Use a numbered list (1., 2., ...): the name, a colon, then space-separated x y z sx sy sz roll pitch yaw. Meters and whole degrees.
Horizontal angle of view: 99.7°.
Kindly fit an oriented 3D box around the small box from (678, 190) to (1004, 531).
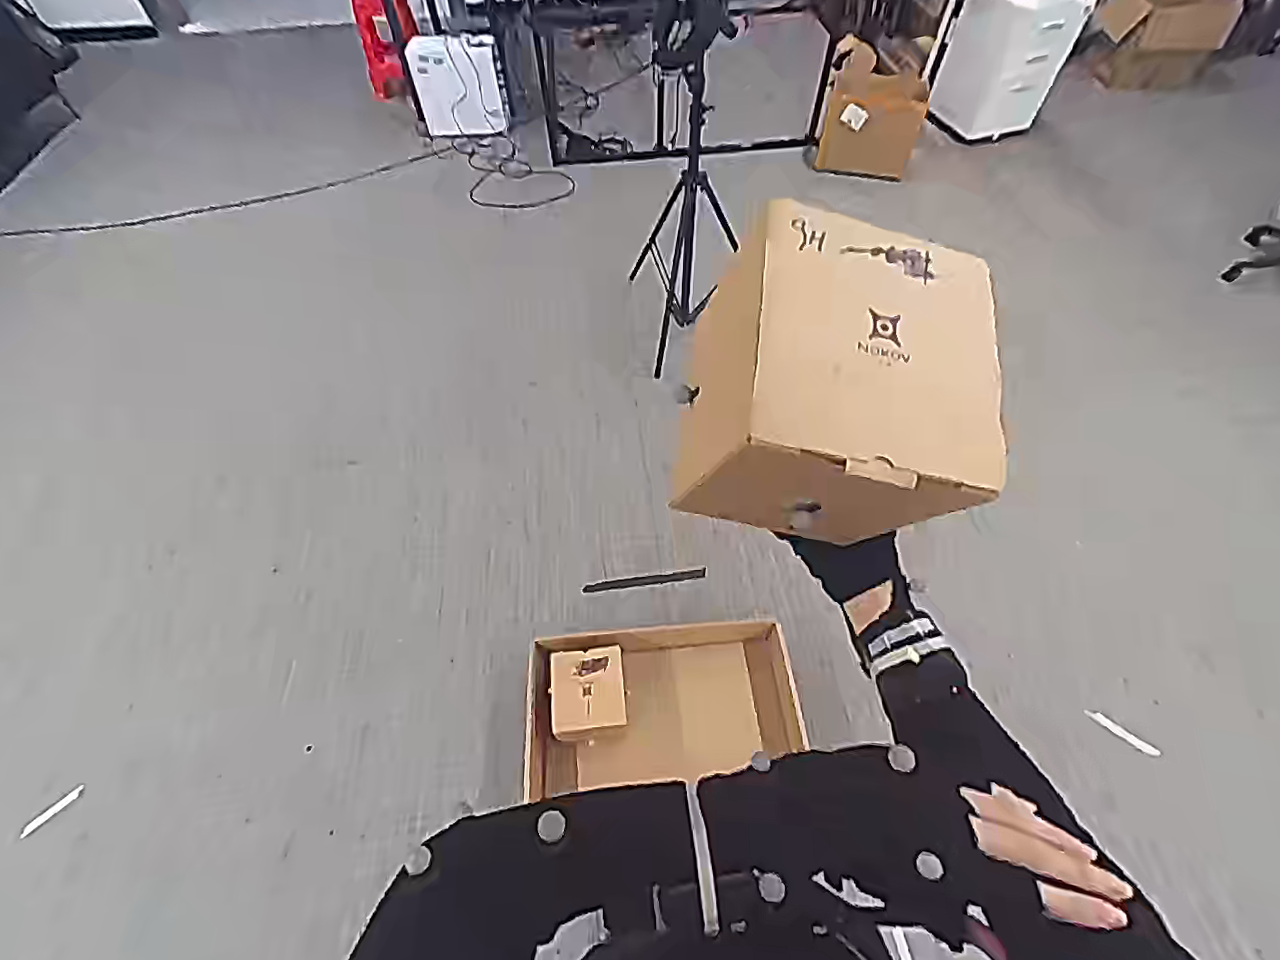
1. small box: 0.133 -0.068 0.409 0.168 0.176 0.179 12 72 -9
